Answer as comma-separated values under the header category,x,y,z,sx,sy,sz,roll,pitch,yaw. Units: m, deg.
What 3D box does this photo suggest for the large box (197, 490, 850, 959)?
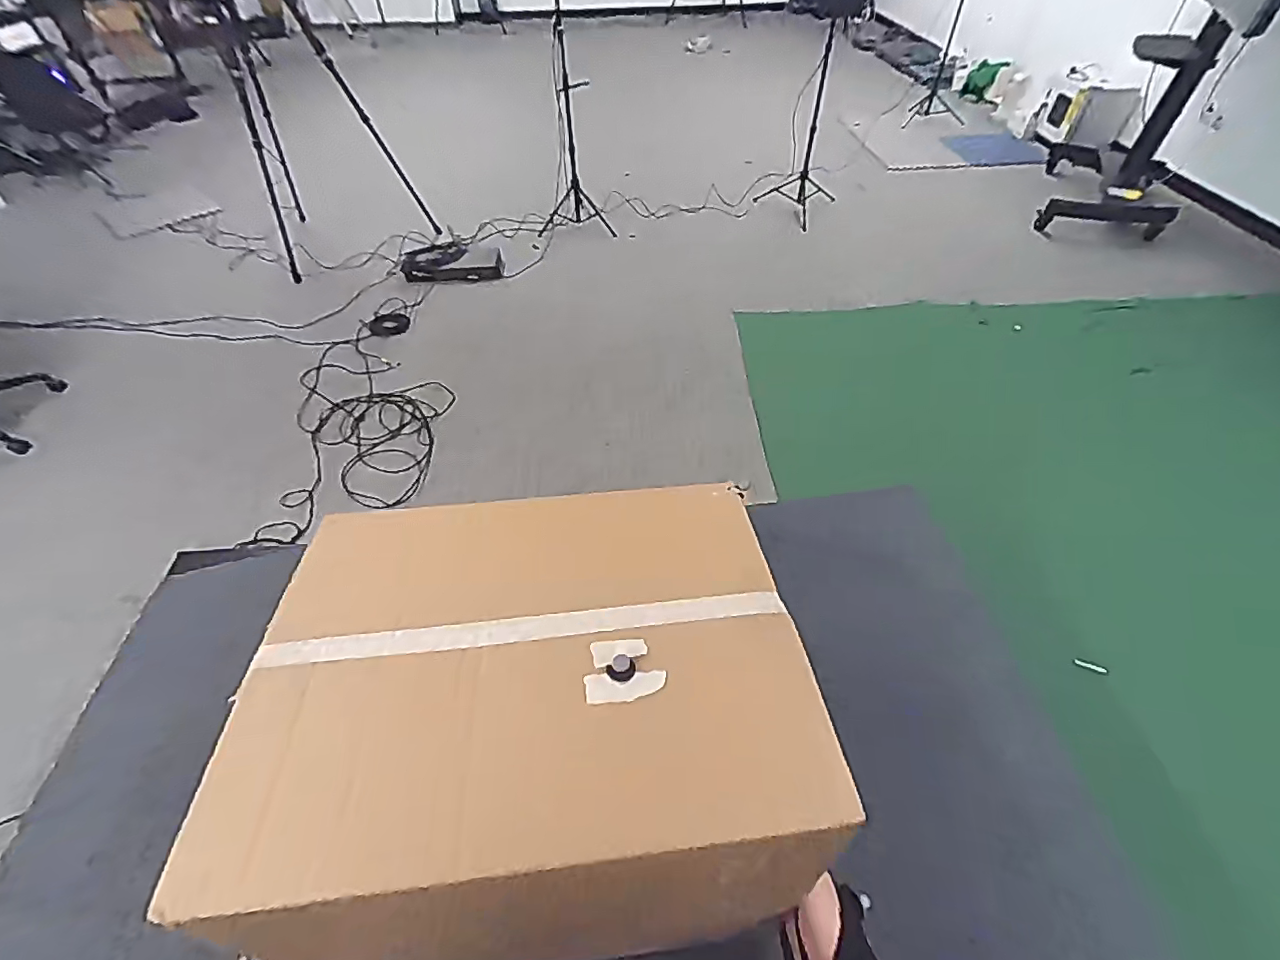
category,x,y,z,sx,sy,sz,roll,pitch,yaw
large box,-0.080,0.238,0.534,0.408,0.320,0.320,-4,41,-6
